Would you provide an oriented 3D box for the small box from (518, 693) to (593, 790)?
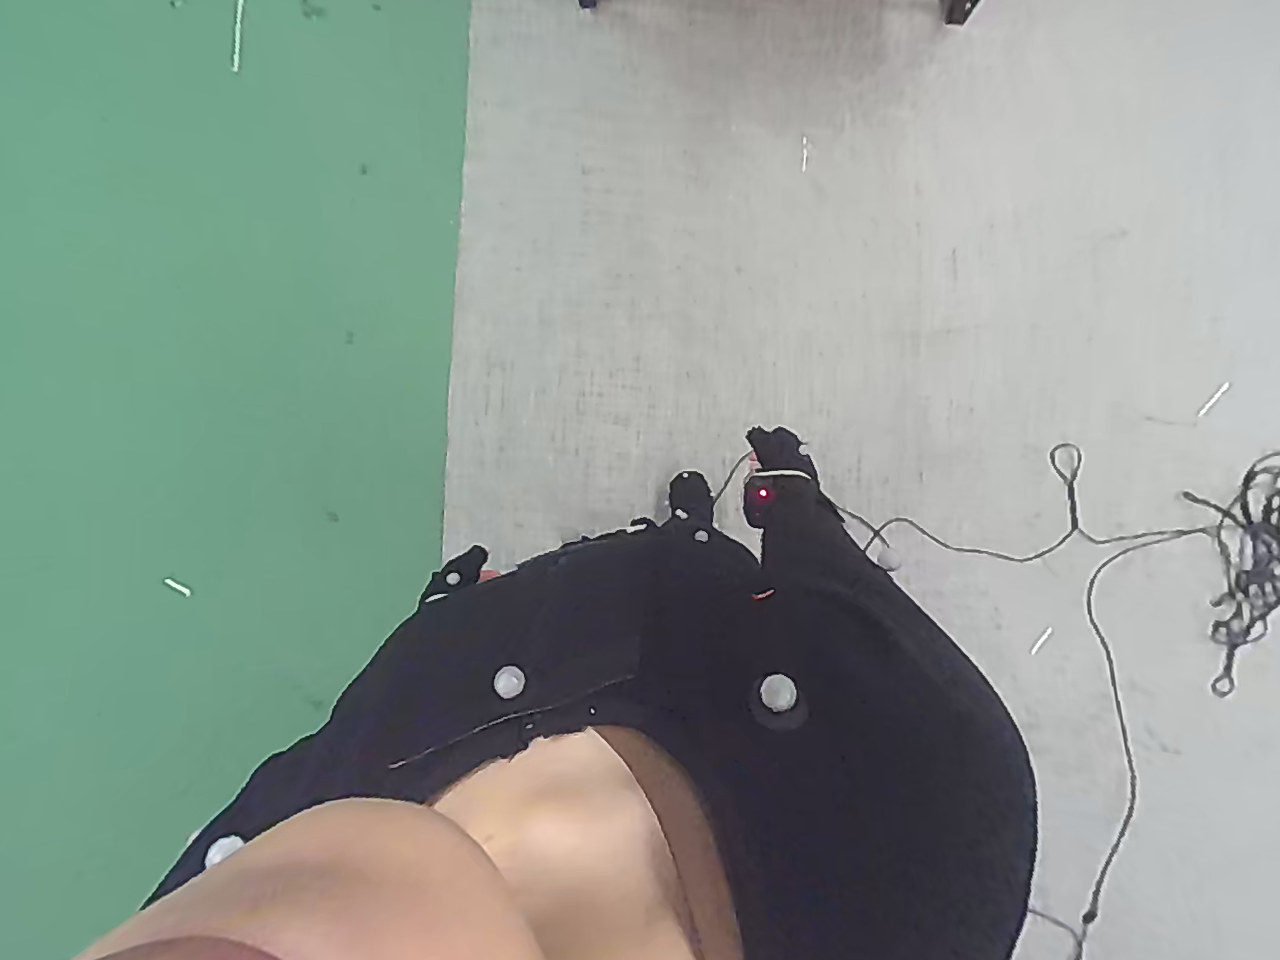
[{"bbox_3d":[-0.206,0.648,1.358,0.168,0.176,0.179,3,86,-2],"label":"small box"}]
